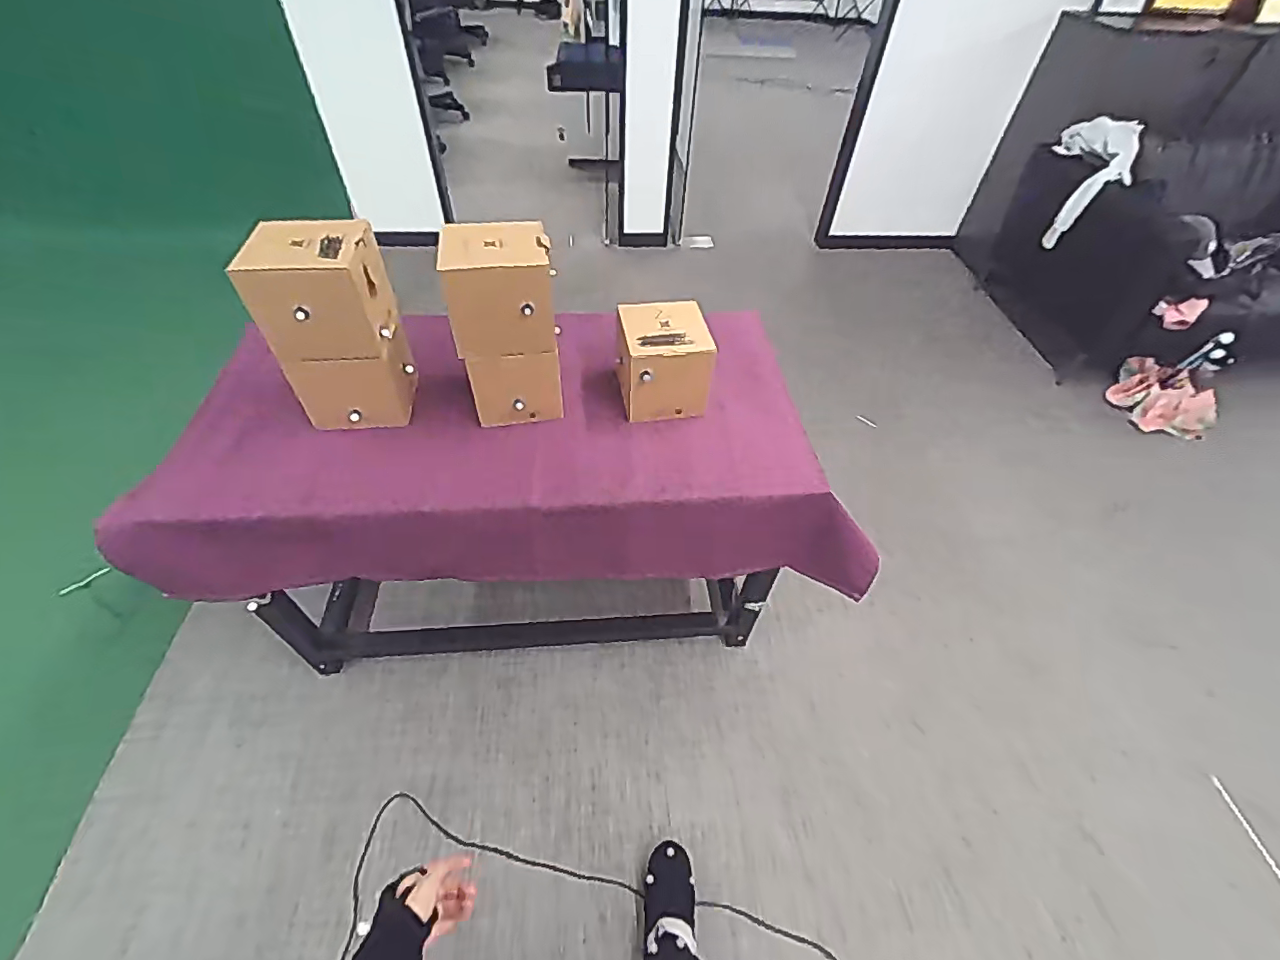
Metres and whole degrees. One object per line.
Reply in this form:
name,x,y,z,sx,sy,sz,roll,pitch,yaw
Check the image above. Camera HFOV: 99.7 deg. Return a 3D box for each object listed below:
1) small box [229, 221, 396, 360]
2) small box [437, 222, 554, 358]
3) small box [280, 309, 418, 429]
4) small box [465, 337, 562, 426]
small box,-0.539,-0.321,0.926,0.179,0.176,0.168,-4,50,-6
small box,-0.246,-0.334,0.957,0.179,0.176,0.168,-7,50,-8
small box,-0.548,-0.215,1.051,0.179,0.176,0.168,-3,50,-6
small box,-0.251,-0.231,1.084,0.168,0.176,0.179,-8,51,-9
